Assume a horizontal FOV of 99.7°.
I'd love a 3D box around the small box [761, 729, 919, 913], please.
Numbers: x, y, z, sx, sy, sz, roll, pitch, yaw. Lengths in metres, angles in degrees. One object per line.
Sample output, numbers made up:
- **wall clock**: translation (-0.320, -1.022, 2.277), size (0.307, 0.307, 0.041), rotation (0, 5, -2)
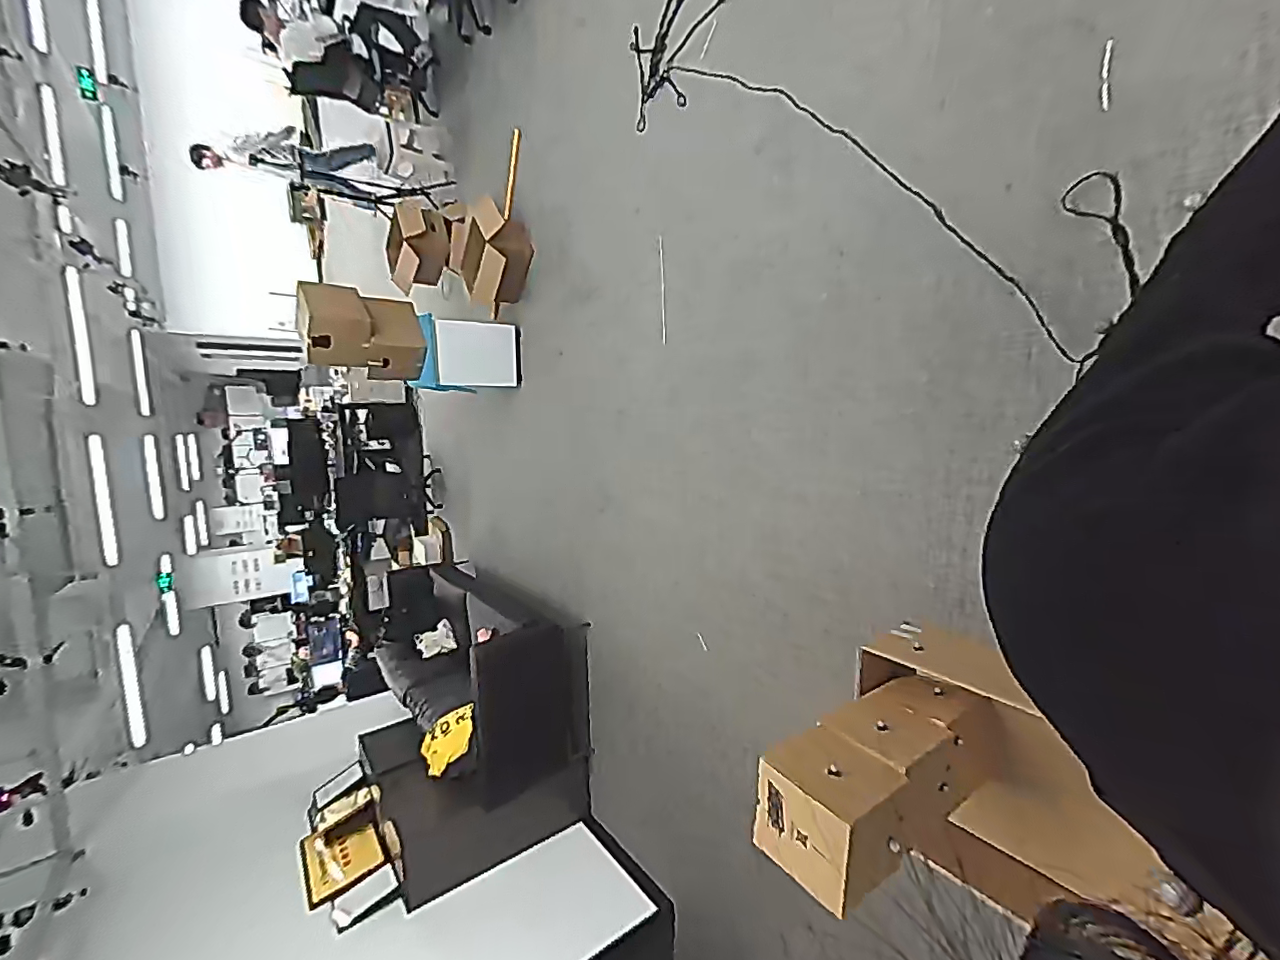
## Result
- **small box**: translation (0.328, 0.544, 0.898), size (0.179, 0.176, 0.168), rotation (15, 107, 53)
